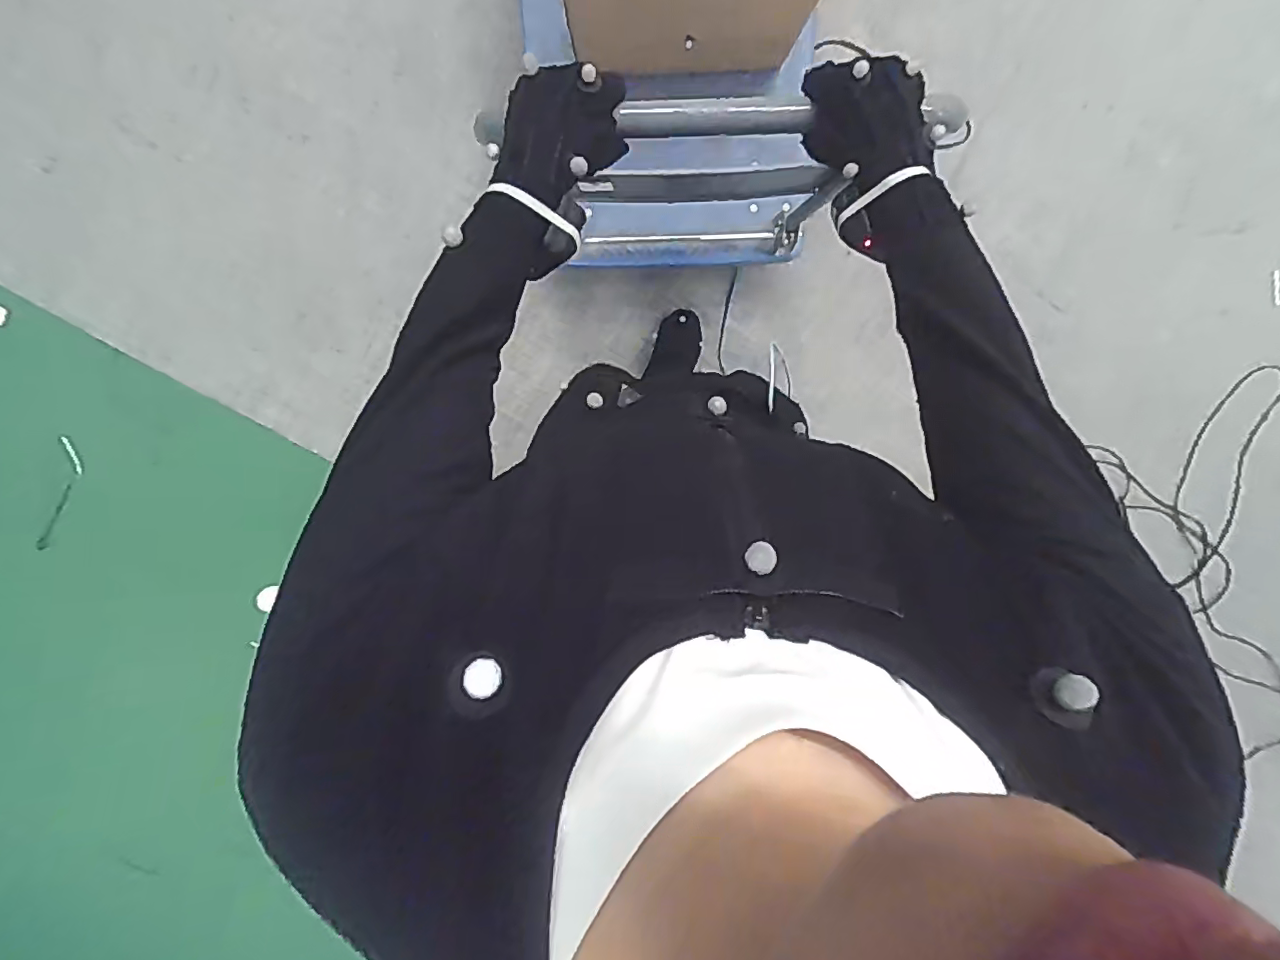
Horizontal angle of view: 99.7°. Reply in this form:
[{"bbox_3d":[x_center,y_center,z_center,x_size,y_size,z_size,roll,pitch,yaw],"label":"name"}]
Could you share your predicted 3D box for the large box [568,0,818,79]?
[{"bbox_3d":[0.080,-0.921,0.903,0.408,0.320,0.320,-3,106,1],"label":"large box"}]
